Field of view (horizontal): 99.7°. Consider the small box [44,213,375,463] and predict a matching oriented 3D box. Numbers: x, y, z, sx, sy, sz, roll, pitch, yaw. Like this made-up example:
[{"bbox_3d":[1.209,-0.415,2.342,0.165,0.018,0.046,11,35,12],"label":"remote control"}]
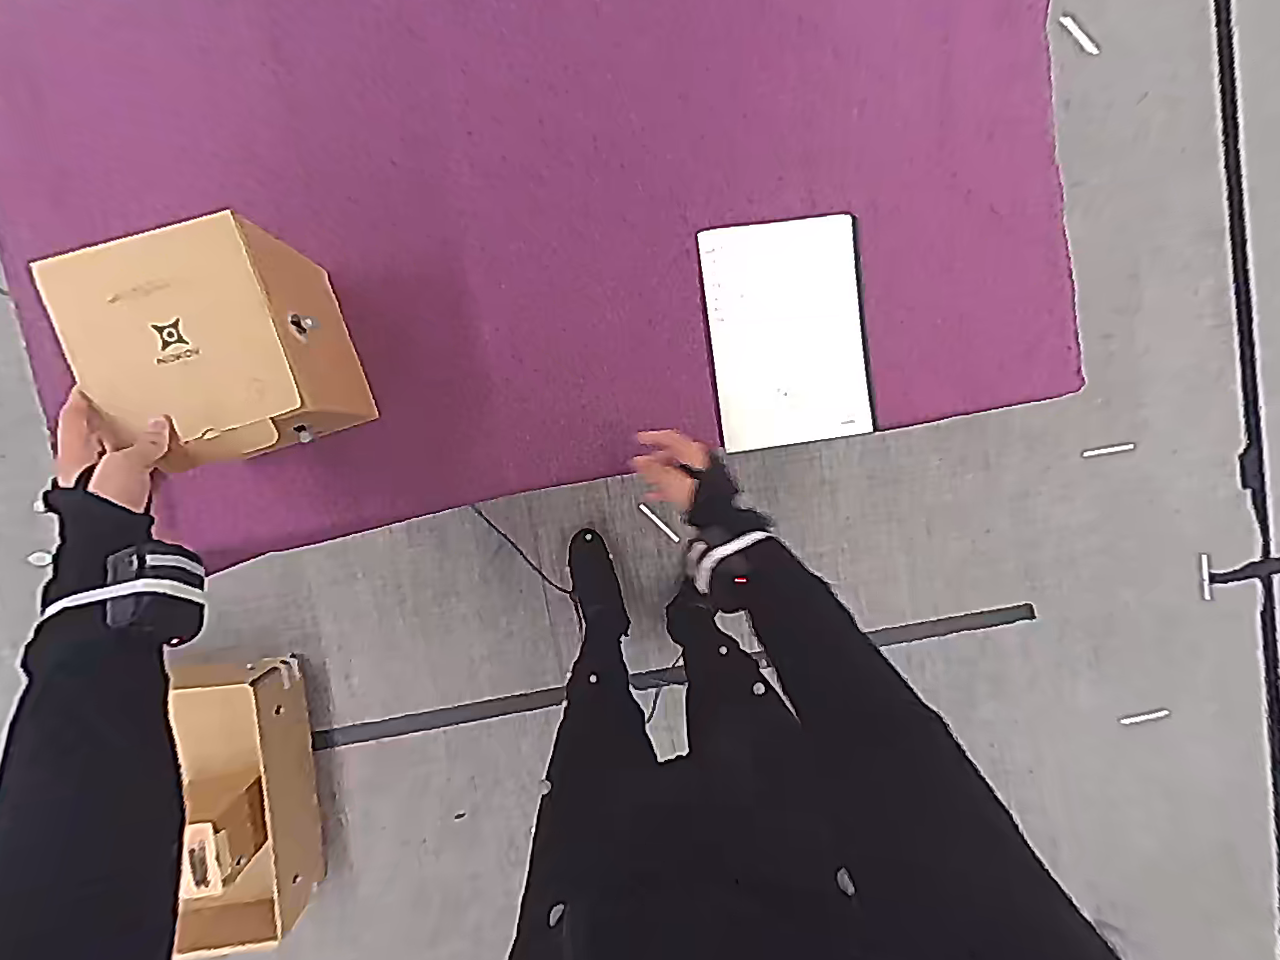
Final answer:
[{"bbox_3d":[-0.393,-0.125,0.535,0.168,0.176,0.179,-17,95,-4],"label":"small box"}]
